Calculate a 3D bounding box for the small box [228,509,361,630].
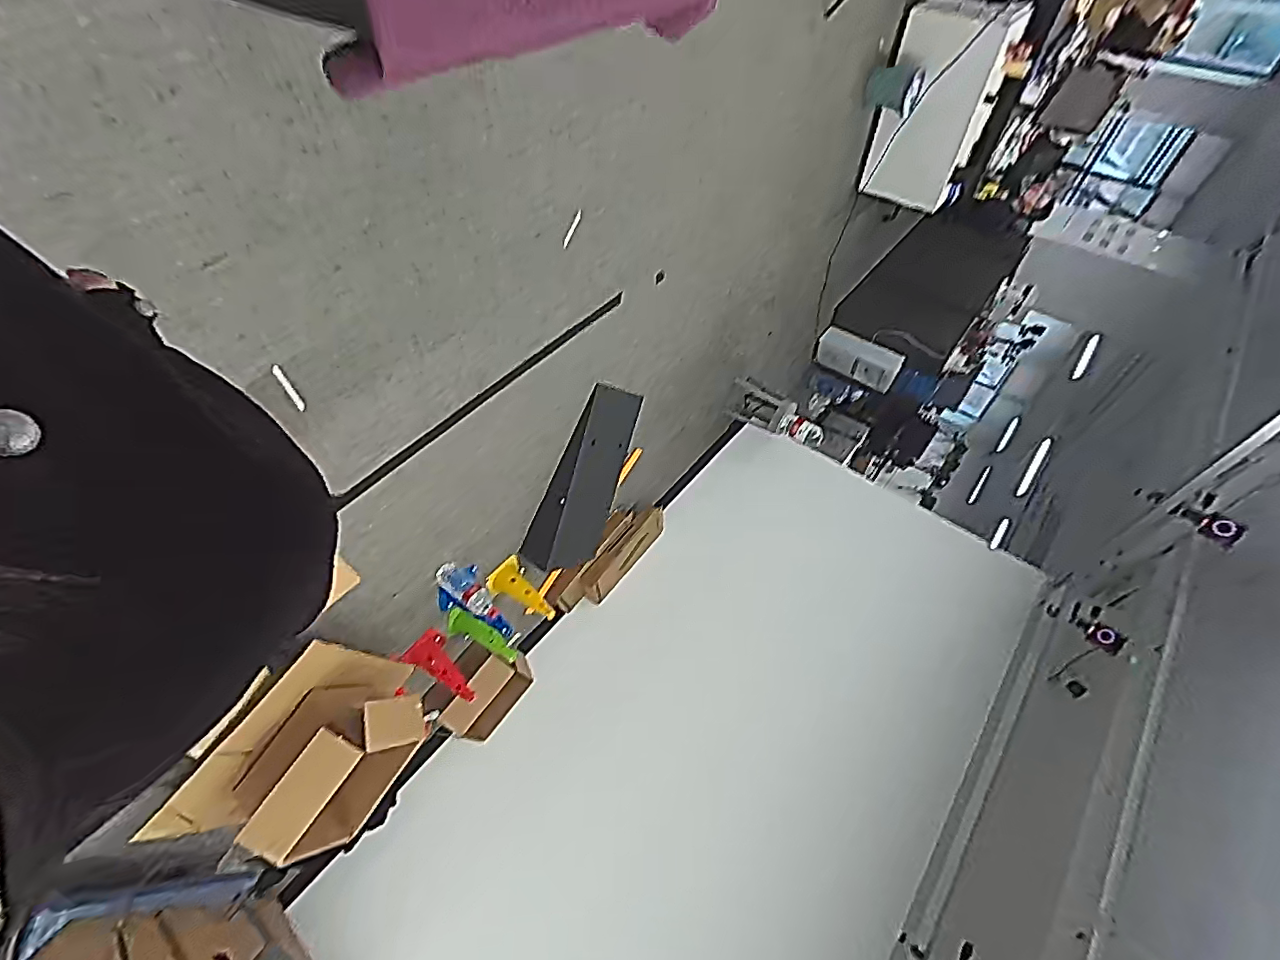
[{"bbox_3d":[-0.792,0.202,1.236,0.179,0.176,0.168,-45,157,-27],"label":"small box"}]
